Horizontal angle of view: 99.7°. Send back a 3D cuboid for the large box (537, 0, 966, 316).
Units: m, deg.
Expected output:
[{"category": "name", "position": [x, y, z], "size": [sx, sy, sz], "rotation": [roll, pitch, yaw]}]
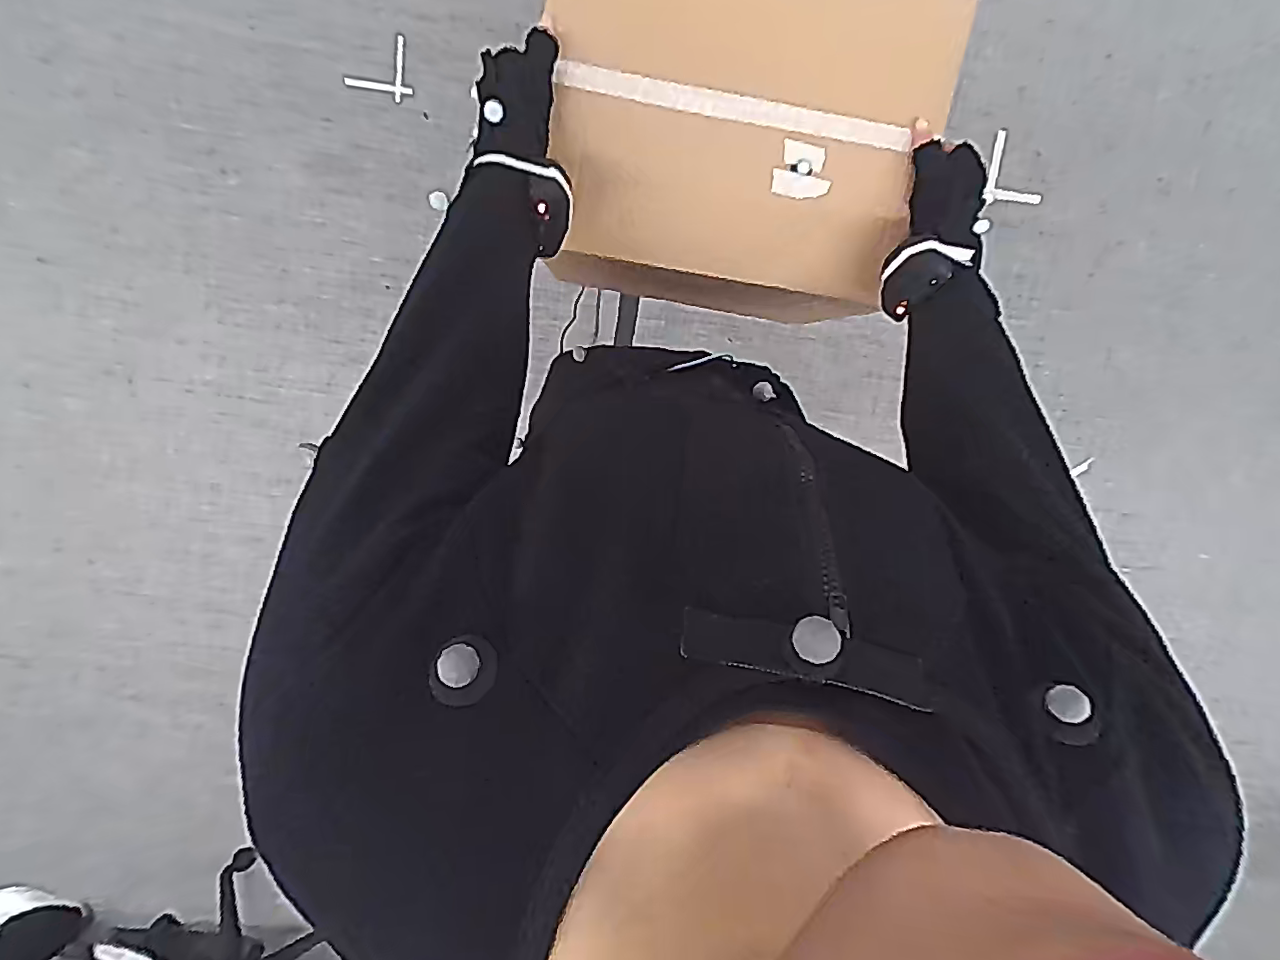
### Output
[{"category": "large box", "position": [0.098, -0.406, 0.693], "size": [0.408, 0.320, 0.320], "rotation": [8, 104, -6]}]
